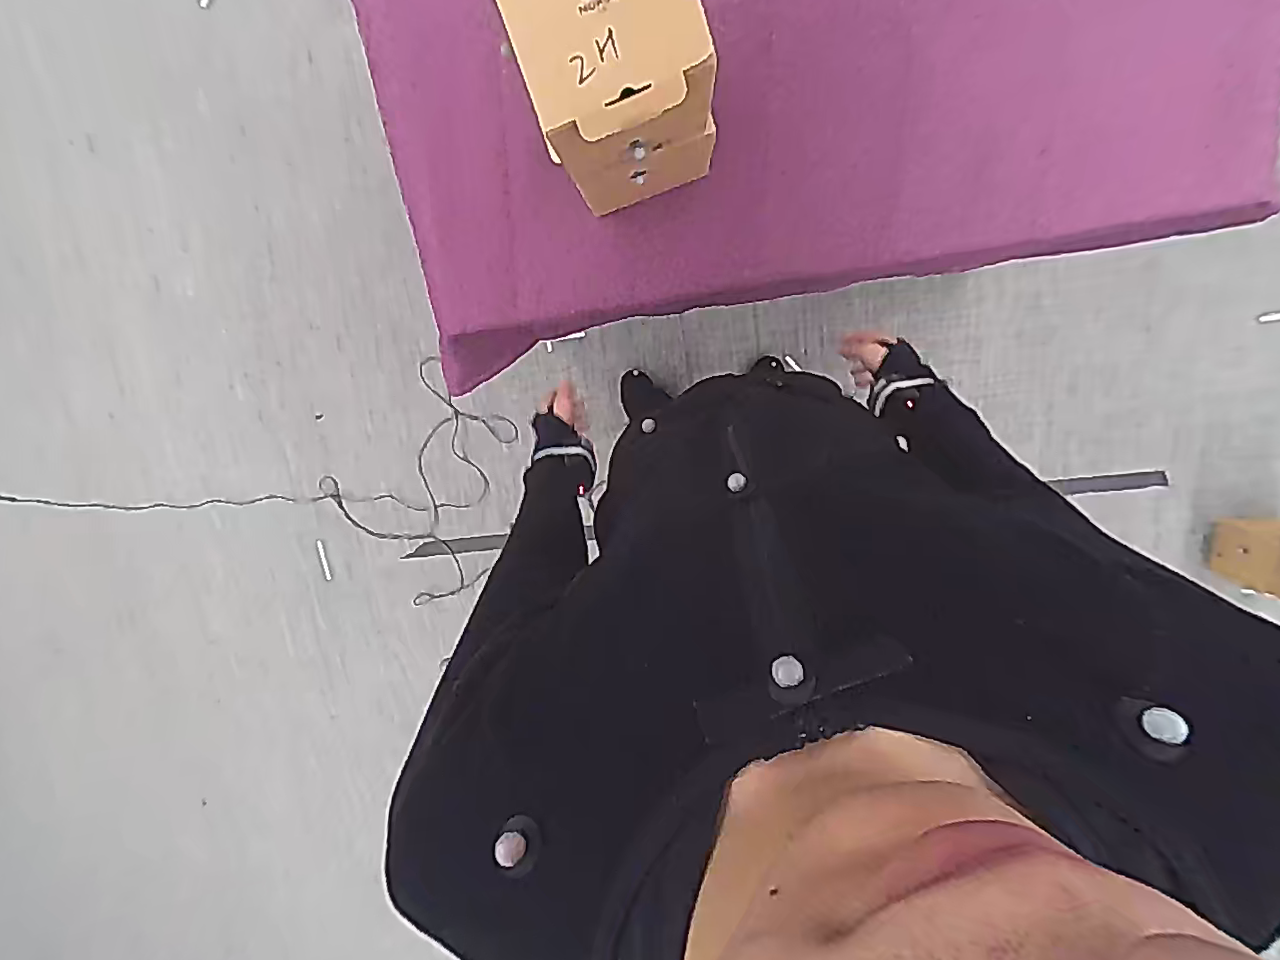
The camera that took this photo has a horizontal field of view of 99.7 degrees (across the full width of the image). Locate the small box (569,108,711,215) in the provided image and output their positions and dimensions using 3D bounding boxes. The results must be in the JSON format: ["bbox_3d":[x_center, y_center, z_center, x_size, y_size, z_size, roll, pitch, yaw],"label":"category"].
[{"bbox_3d":[-0.017,-0.470,0.702,0.179,0.176,0.168,-18,102,7],"label":"small box"}]

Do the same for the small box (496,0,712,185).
[{"bbox_3d":[-0.036,-0.434,0.542,0.168,0.176,0.179,-19,102,8],"label":"small box"}]

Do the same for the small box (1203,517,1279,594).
[{"bbox_3d":[1.751,0.207,1.512,0.179,0.176,0.168,-3,104,4],"label":"small box"}]
